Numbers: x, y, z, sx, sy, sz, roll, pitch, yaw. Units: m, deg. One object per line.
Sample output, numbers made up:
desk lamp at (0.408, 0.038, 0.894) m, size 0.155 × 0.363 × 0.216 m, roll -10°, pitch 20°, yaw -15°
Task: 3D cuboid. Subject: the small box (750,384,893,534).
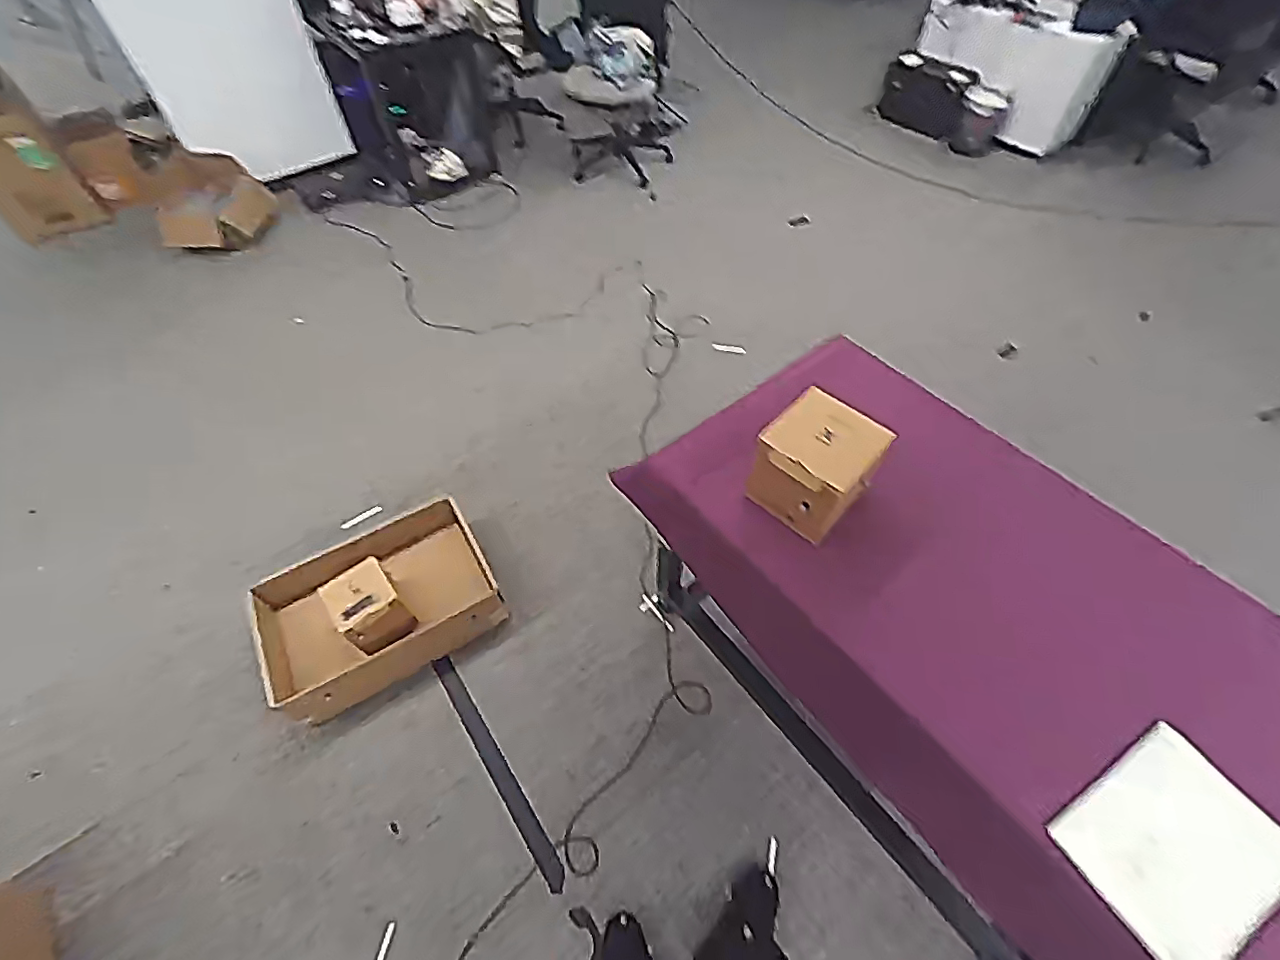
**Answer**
small box at (0.316, -0.033, 0.980) m, size 0.168 × 0.176 × 0.179 m, roll 39°, pitch 63°, yaw 24°
